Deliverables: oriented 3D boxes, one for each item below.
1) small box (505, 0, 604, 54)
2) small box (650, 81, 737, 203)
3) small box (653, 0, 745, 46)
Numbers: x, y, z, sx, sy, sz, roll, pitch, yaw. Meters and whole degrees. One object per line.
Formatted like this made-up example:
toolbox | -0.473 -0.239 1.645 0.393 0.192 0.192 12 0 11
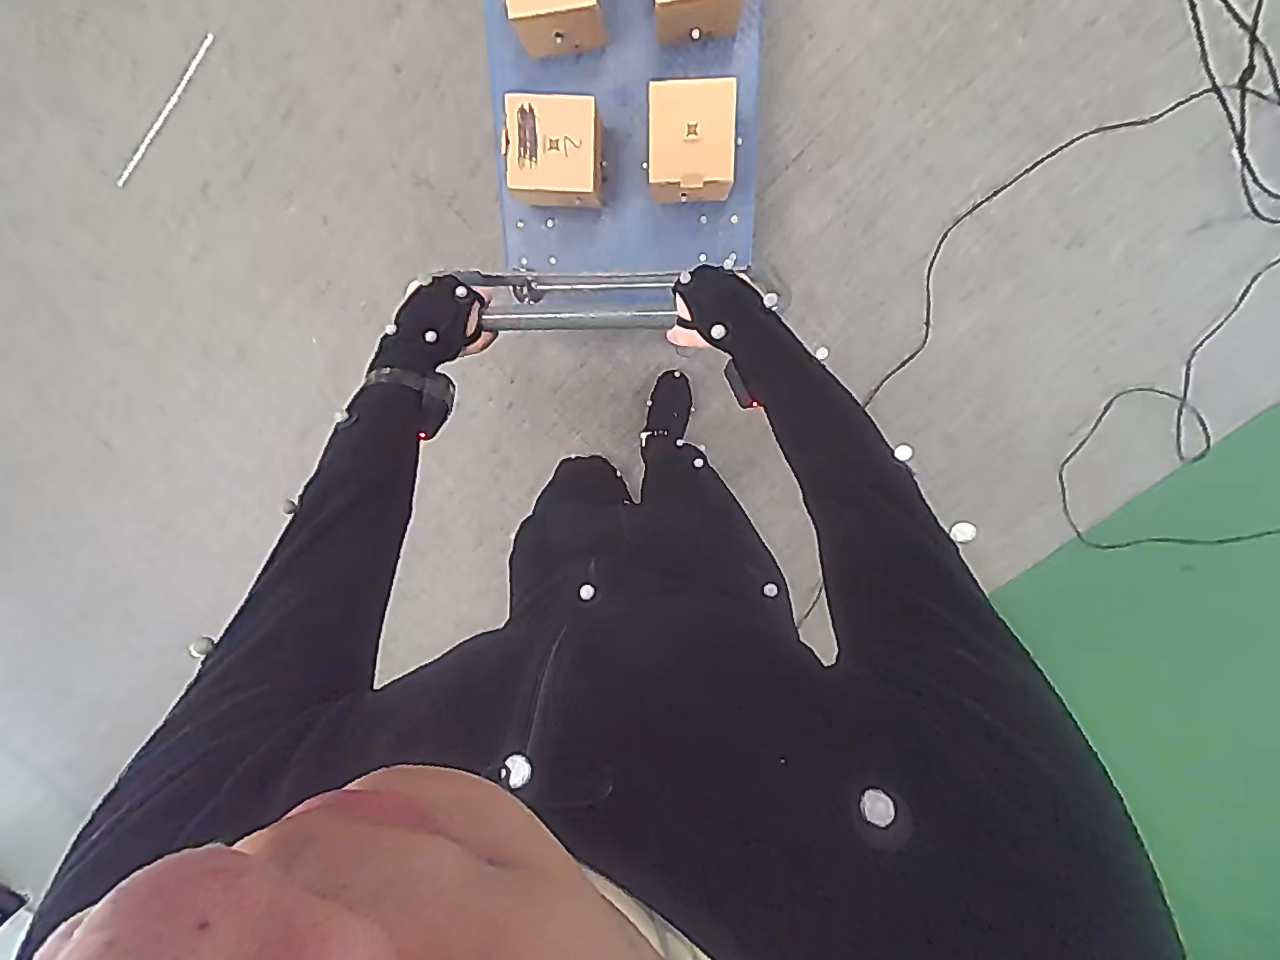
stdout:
small box | -0.166 -0.951 1.034 0.168 0.176 0.179 -5 107 4
small box | 0.103 -0.681 1.107 0.168 0.176 0.179 0 108 3
small box | 0.104 -0.965 1.017 0.168 0.176 0.179 -5 108 5
